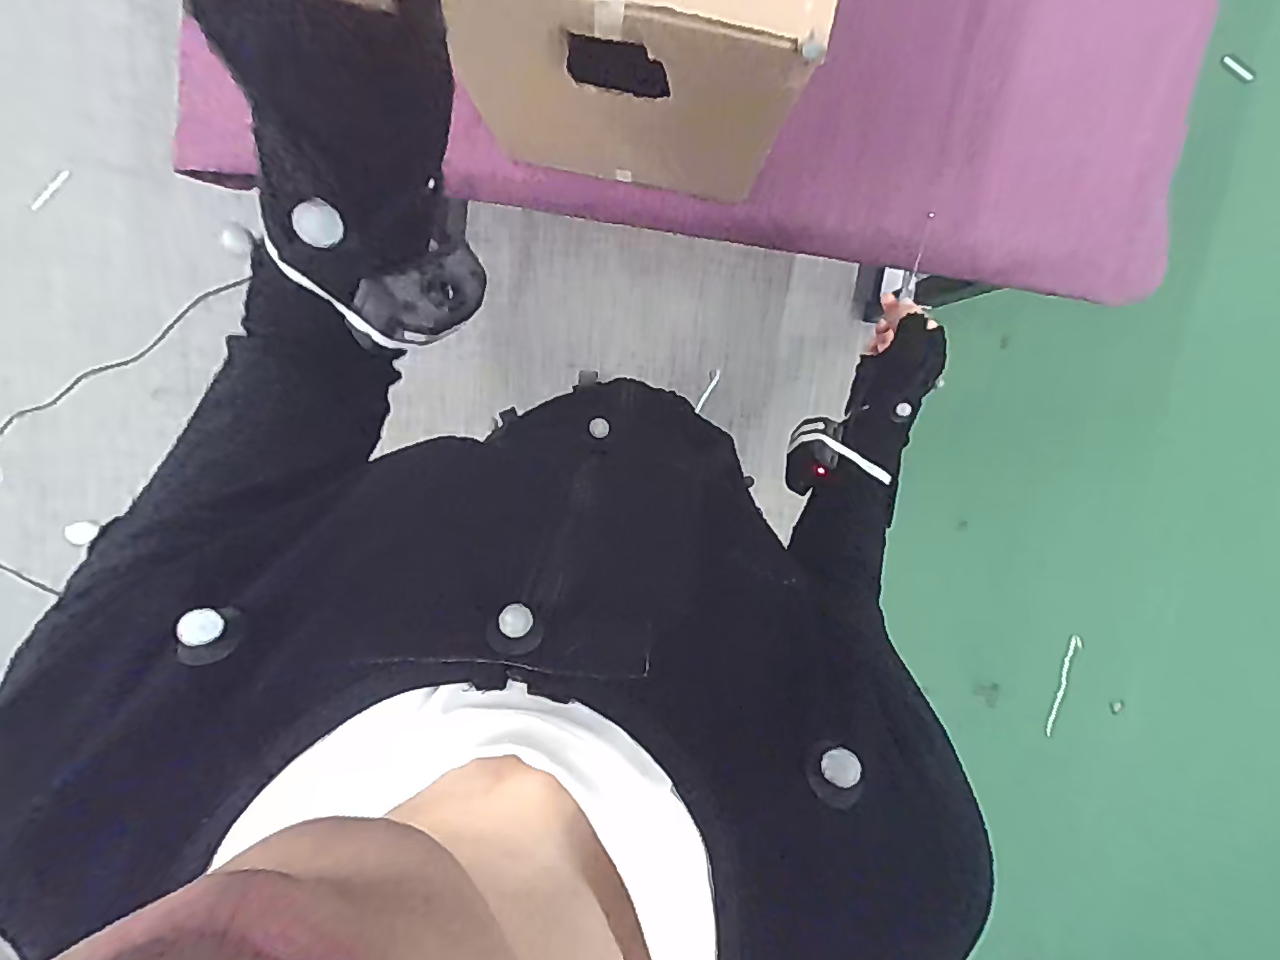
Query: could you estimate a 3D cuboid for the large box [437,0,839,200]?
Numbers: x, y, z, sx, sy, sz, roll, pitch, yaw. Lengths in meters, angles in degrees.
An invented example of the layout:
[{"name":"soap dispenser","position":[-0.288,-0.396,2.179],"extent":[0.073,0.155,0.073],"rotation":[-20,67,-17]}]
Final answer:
[{"name":"large box","position":[0.022,-0.555,0.516],"extent":[0.320,0.320,0.408],"rotation":[11,99,-1]}]
